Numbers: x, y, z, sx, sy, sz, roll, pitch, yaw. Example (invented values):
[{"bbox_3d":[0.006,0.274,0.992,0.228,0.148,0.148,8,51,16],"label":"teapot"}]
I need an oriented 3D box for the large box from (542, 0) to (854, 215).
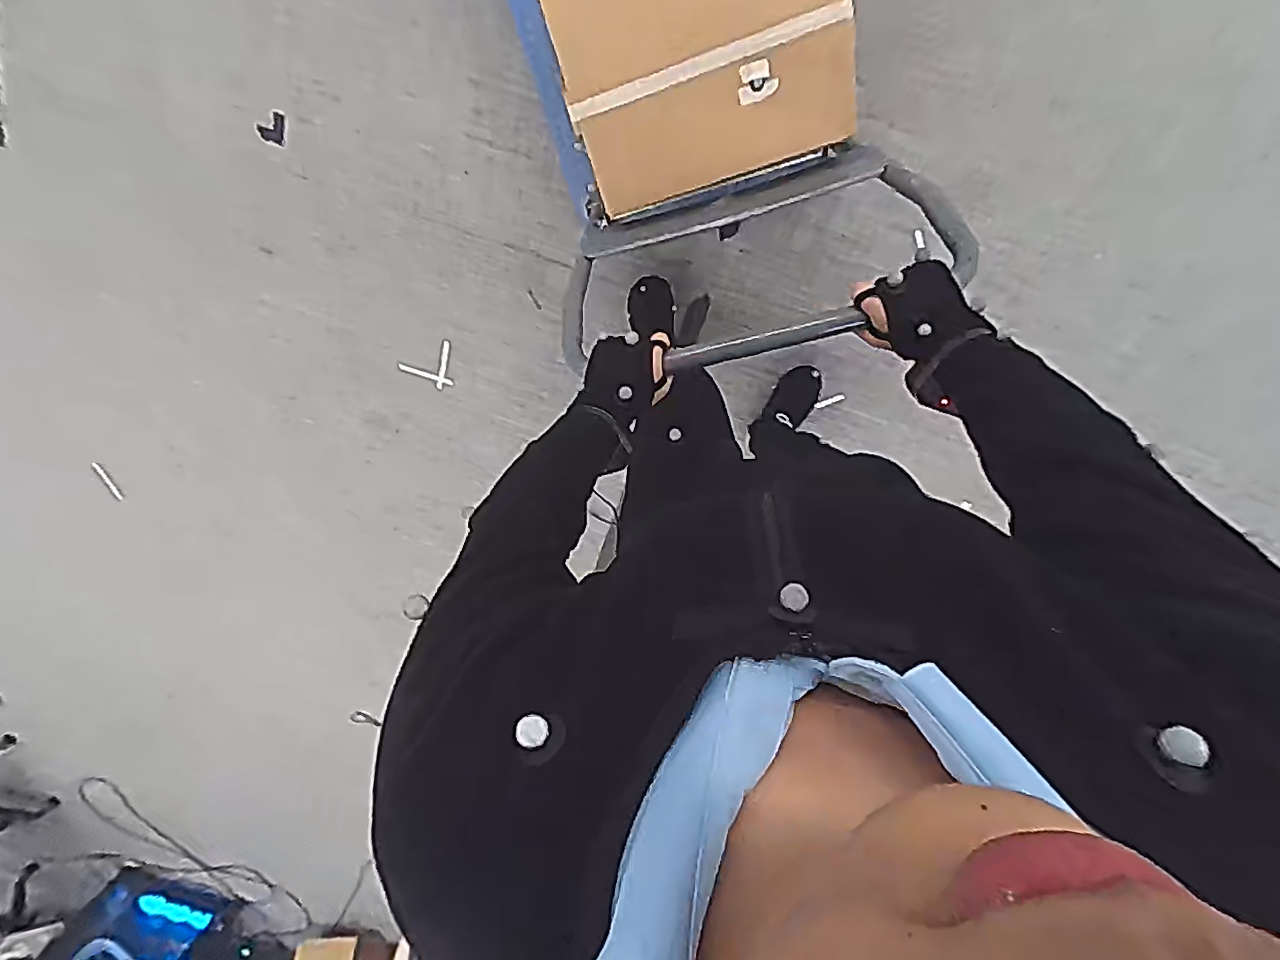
[{"bbox_3d":[0.097,-0.698,0.907,0.408,0.320,0.320,-14,126,12],"label":"large box"}]
